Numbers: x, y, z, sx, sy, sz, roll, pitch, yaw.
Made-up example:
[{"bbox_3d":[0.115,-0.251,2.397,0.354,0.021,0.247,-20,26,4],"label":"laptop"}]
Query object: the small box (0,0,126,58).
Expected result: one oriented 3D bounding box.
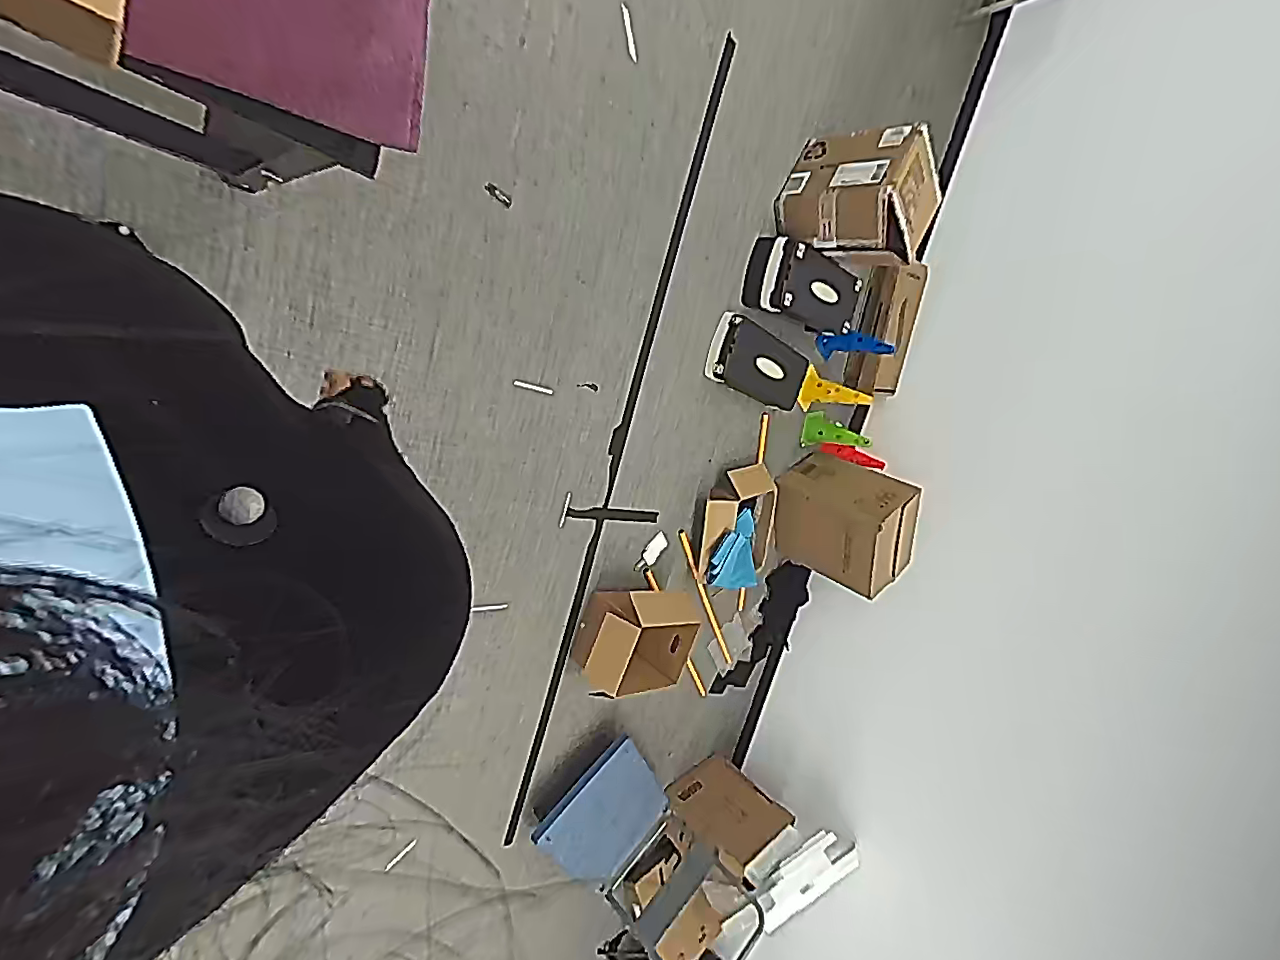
[{"bbox_3d":[-0.457,-0.439,0.369,0.168,0.176,0.179,8,101,-48],"label":"small box"}]
